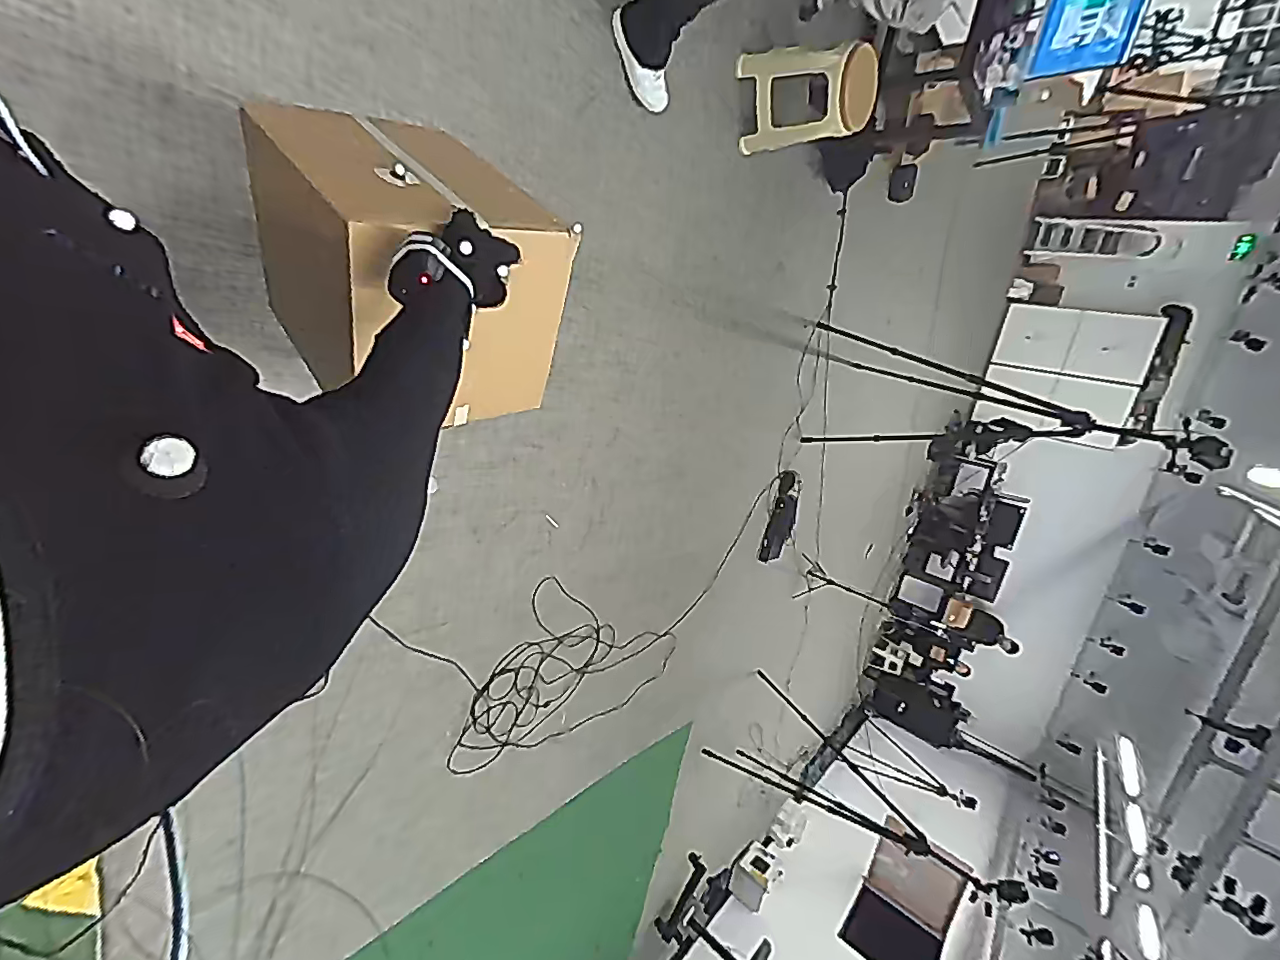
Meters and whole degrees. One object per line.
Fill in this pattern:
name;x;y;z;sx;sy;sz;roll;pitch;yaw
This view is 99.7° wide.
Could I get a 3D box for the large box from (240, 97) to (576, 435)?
large box;-0.372;-0.334;0.858;0.320;0.408;0.320;-21;146;-40
